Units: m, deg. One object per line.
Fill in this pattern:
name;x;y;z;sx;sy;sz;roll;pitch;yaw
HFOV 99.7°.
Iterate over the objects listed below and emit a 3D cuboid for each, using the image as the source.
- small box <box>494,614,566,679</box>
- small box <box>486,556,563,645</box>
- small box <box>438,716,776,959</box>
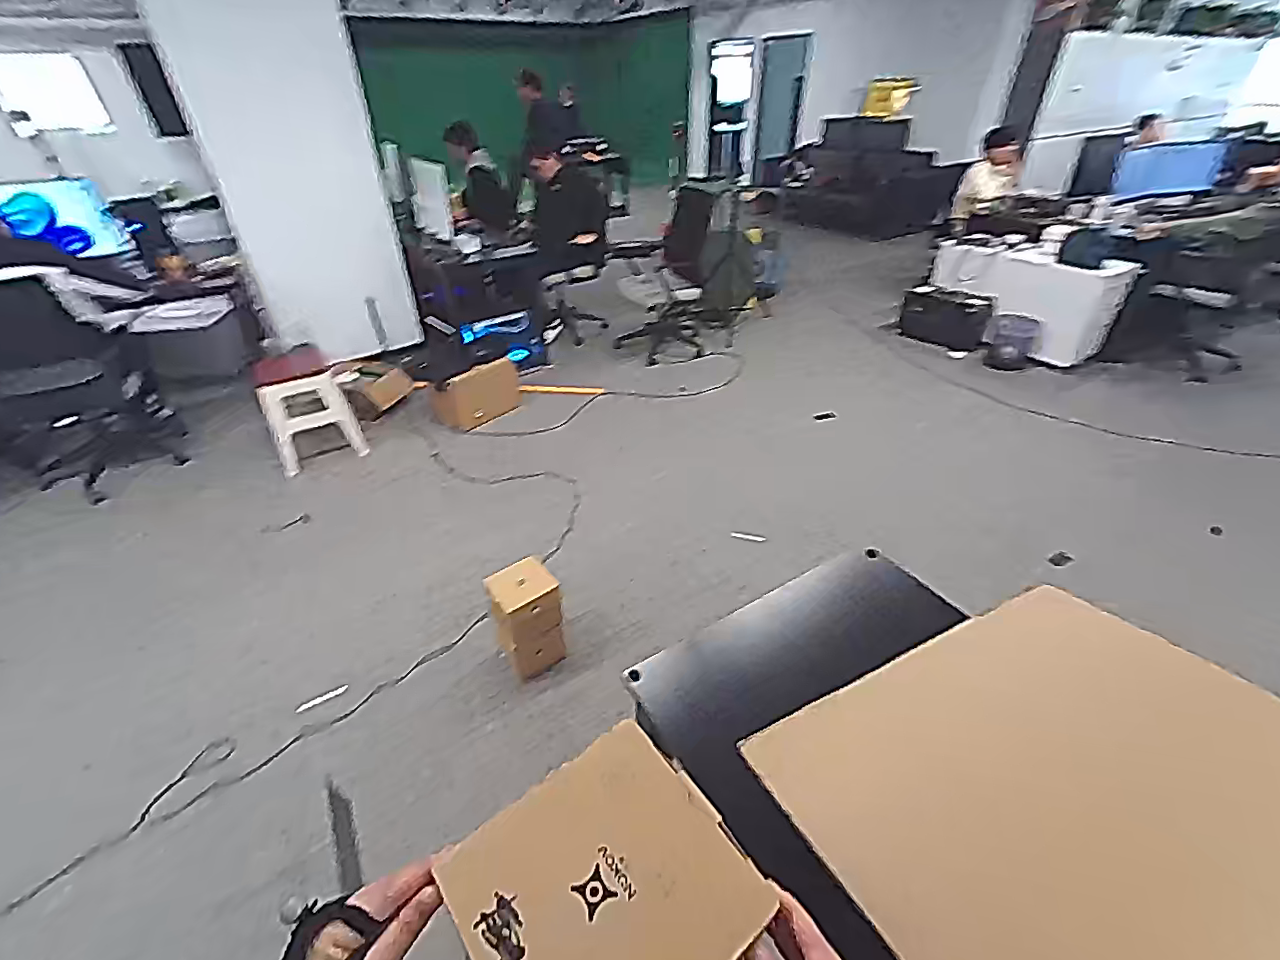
small box;-0.355;0.510;1.774;0.179;0.176;0.168;-24;42;-27
small box;-0.354;0.376;1.682;0.179;0.176;0.168;-25;44;-31
small box;-0.028;0.331;0.413;0.179;0.176;0.168;-25;45;-34
